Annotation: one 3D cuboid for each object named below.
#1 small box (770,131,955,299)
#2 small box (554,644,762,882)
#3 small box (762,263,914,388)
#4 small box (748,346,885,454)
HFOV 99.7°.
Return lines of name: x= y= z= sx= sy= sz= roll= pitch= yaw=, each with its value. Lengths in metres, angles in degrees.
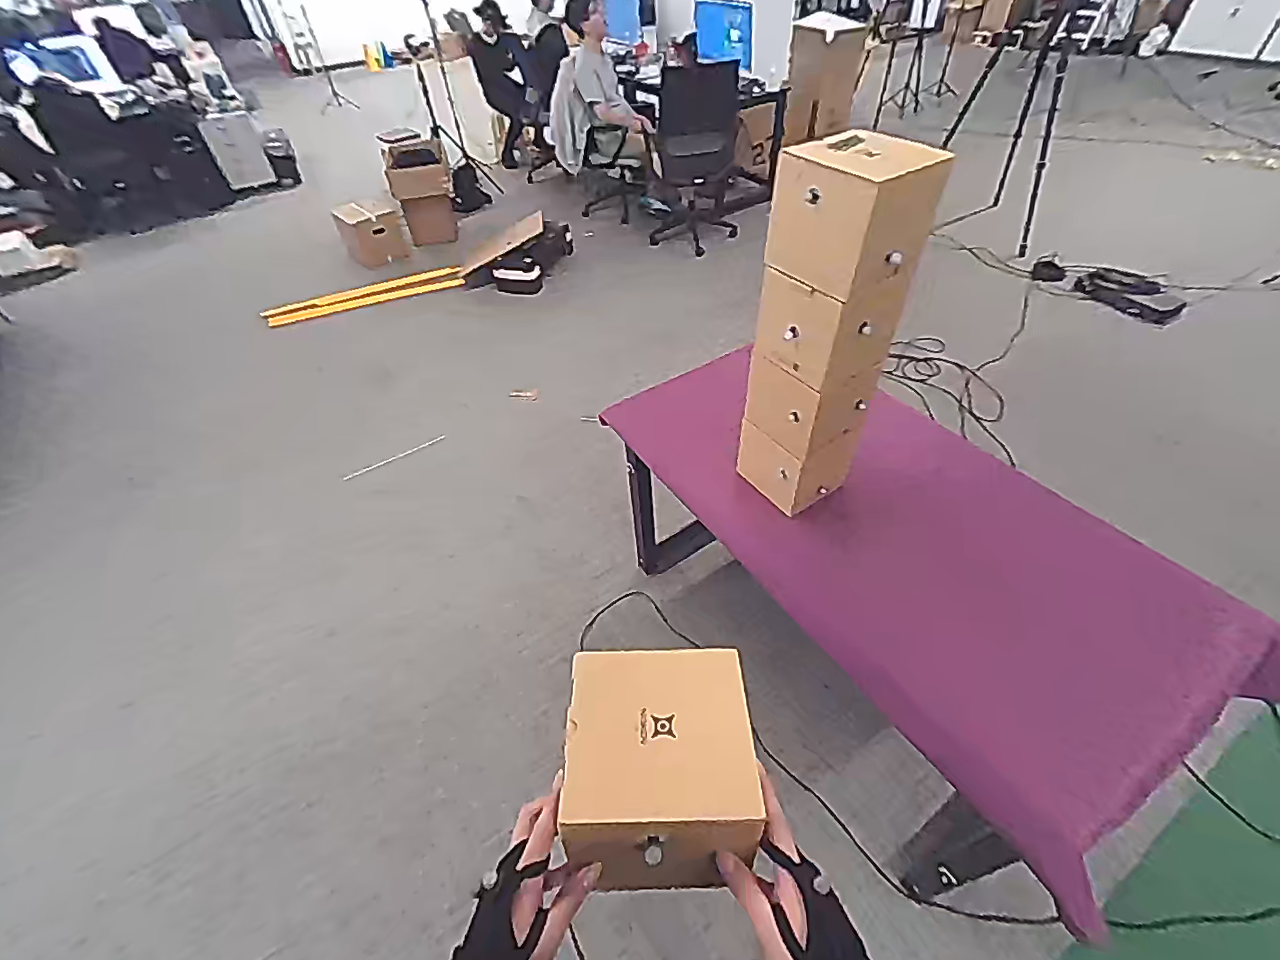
small box: x=0.317 y=-0.398 z=0.811 sx=0.168 sy=0.176 sz=0.179 roll=-28 pitch=52 yaw=-22
small box: x=0.018 y=0.290 z=0.558 sx=0.179 sy=0.176 sz=0.168 roll=-3 pitch=38 yaw=1
small box: x=0.328 y=-0.287 z=0.933 sx=0.179 sy=0.176 sz=0.168 roll=-28 pitch=51 yaw=-21
small box: x=0.331 y=-0.172 z=1.048 sx=0.168 sy=0.176 sz=0.179 roll=-27 pitch=50 yaw=-20
